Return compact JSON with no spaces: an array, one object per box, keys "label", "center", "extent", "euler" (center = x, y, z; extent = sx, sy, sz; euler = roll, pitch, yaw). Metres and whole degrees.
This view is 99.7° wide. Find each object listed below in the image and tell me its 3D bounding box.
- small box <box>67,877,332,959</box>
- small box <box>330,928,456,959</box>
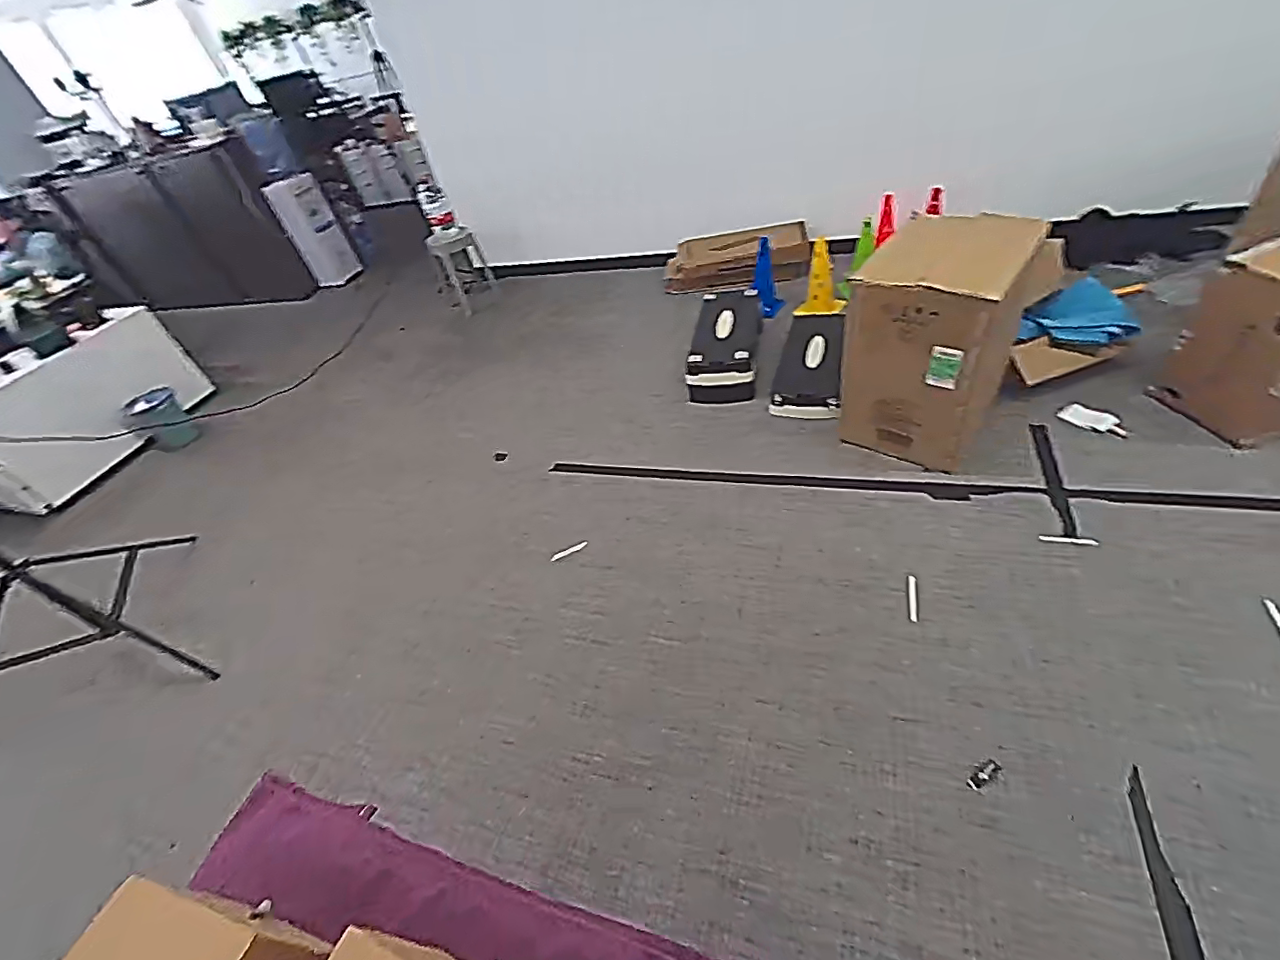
[{"label":"small box","center":[-0.406,0.493,0.475],"extent":[0.168,0.176,0.179],"euler":[4,45,19]},{"label":"small box","center":[-0.179,0.493,0.410],"extent":[0.168,0.176,0.179],"euler":[7,46,24]}]
